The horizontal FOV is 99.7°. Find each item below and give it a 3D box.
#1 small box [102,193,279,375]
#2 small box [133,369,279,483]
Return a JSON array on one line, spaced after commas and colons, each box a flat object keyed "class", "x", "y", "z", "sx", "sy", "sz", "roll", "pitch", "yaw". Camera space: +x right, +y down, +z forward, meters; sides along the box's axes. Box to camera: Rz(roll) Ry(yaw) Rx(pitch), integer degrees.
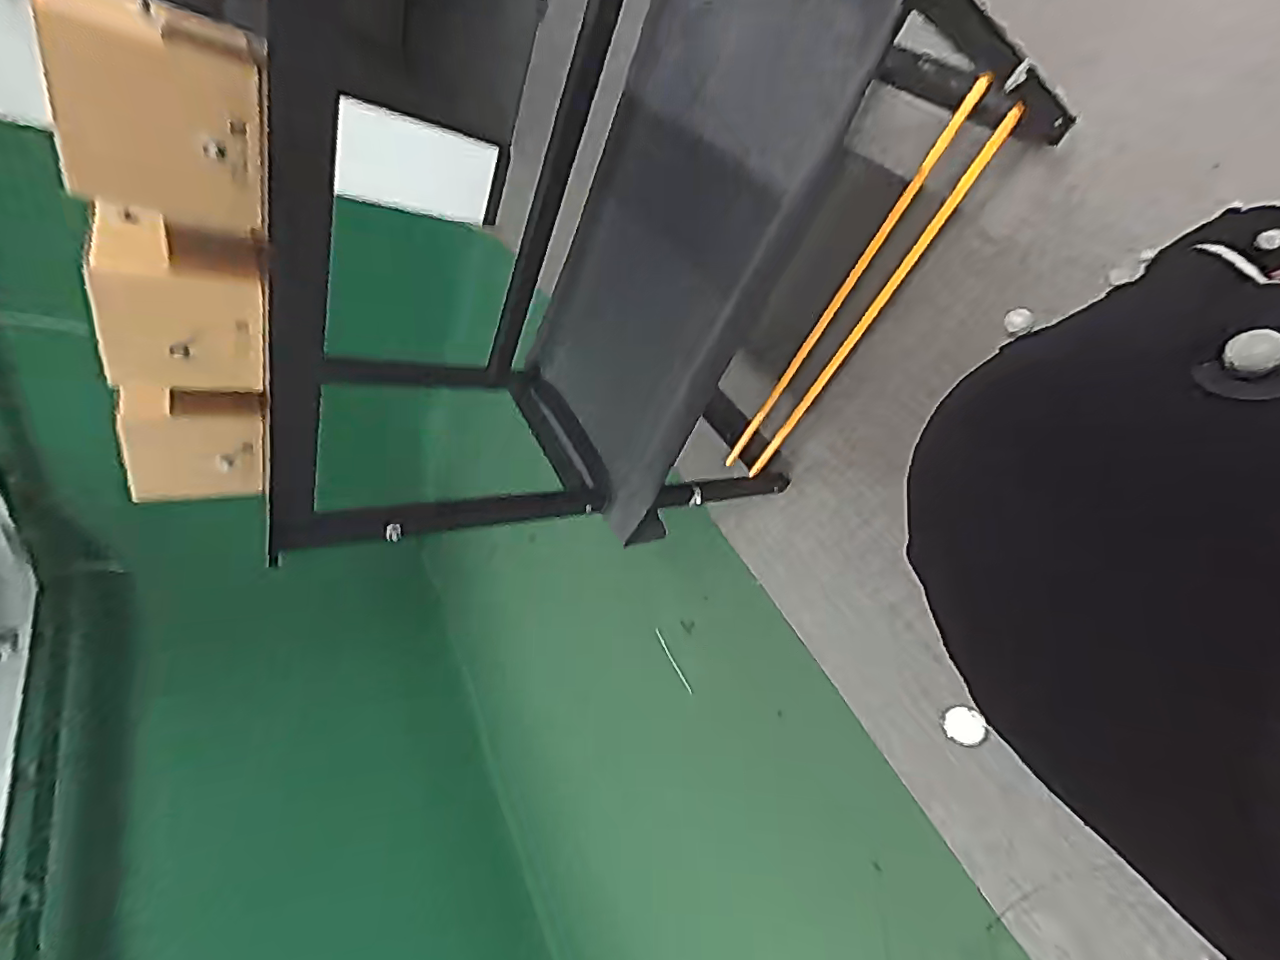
[{"class": "small box", "x": -0.607, "y": -0.262, "z": 0.748, "sx": 0.179, "sy": 0.176, "sz": 0.168, "roll": 58, "pitch": 135, "yaw": 32}, {"class": "small box", "x": -0.705, "y": -0.113, "z": 0.886, "sx": 0.179, "sy": 0.176, "sz": 0.168, "roll": 56, "pitch": 134, "yaw": 31}]
